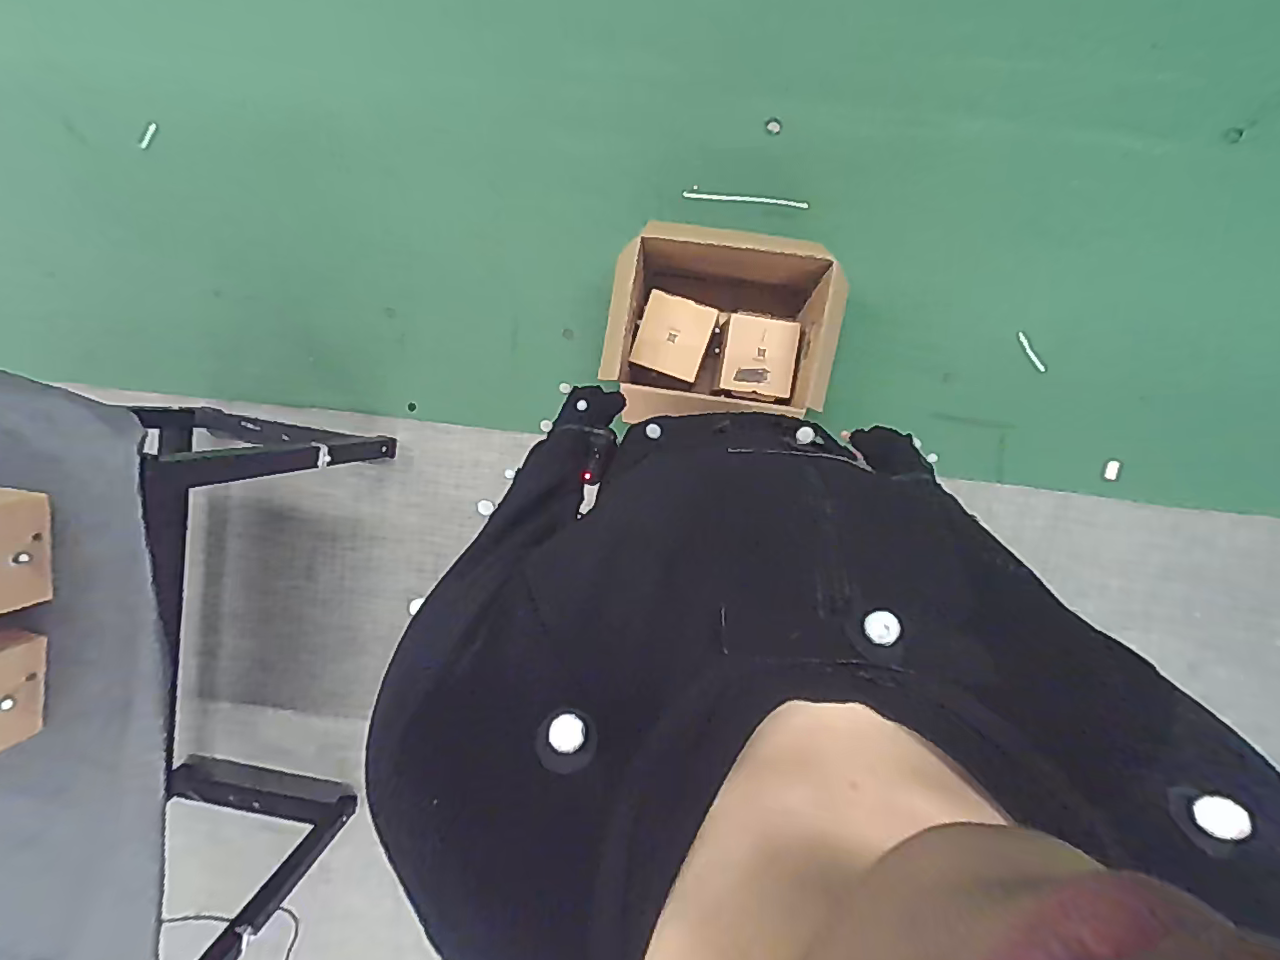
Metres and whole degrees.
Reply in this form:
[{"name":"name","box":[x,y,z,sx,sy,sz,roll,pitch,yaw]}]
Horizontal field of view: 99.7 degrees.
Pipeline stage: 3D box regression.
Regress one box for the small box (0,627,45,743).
[{"name":"small box","box":[-1.028,0.310,0.770,0.179,0.176,0.168,12,98,2]}]
